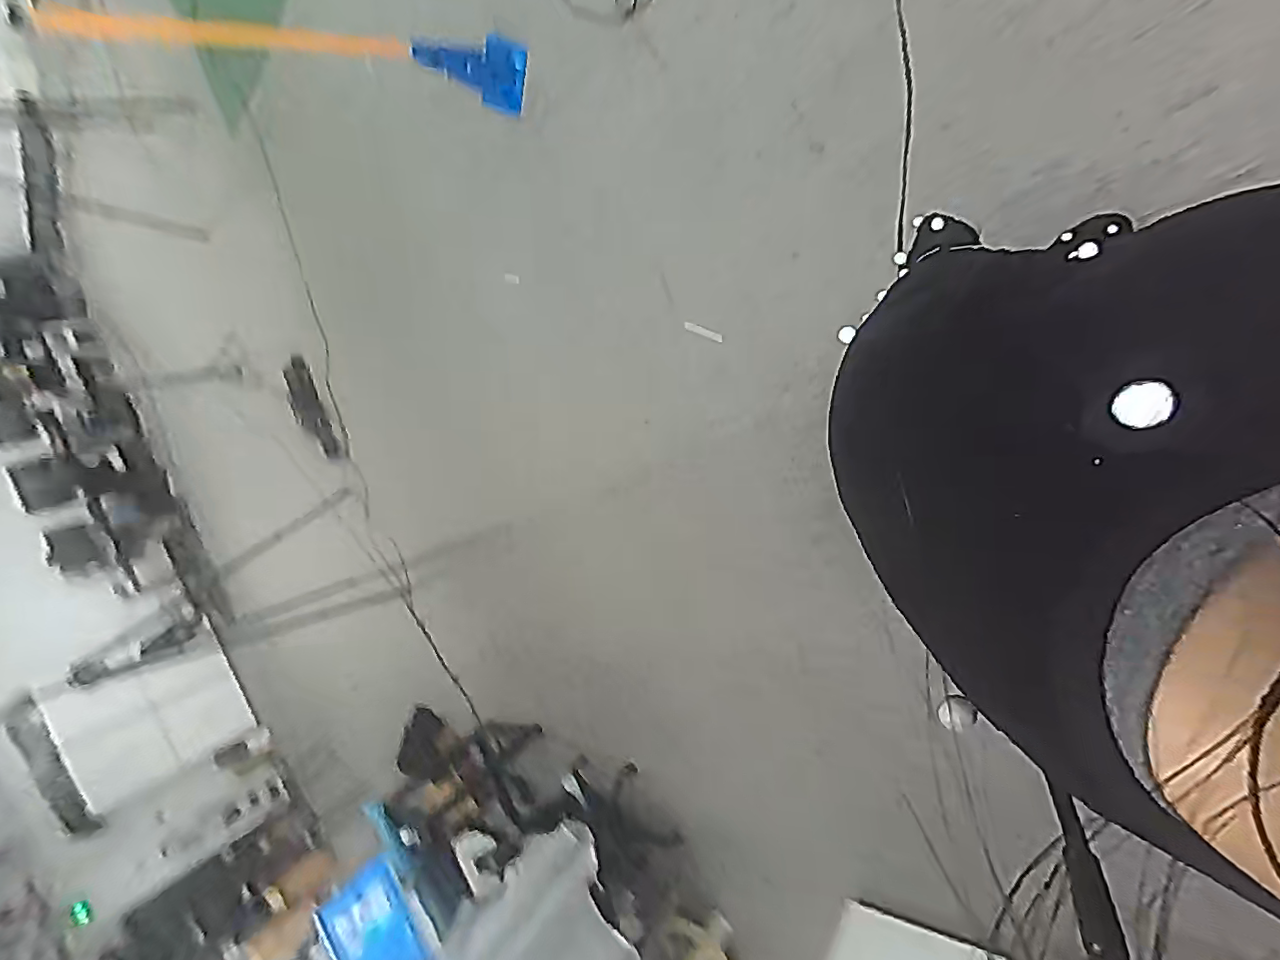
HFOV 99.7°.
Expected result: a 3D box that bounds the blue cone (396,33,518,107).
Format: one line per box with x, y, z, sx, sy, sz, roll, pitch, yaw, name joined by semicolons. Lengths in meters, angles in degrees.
-0.575;-1.316;1.686;0.192;0.380;0.193;32;126;23;blue cone
